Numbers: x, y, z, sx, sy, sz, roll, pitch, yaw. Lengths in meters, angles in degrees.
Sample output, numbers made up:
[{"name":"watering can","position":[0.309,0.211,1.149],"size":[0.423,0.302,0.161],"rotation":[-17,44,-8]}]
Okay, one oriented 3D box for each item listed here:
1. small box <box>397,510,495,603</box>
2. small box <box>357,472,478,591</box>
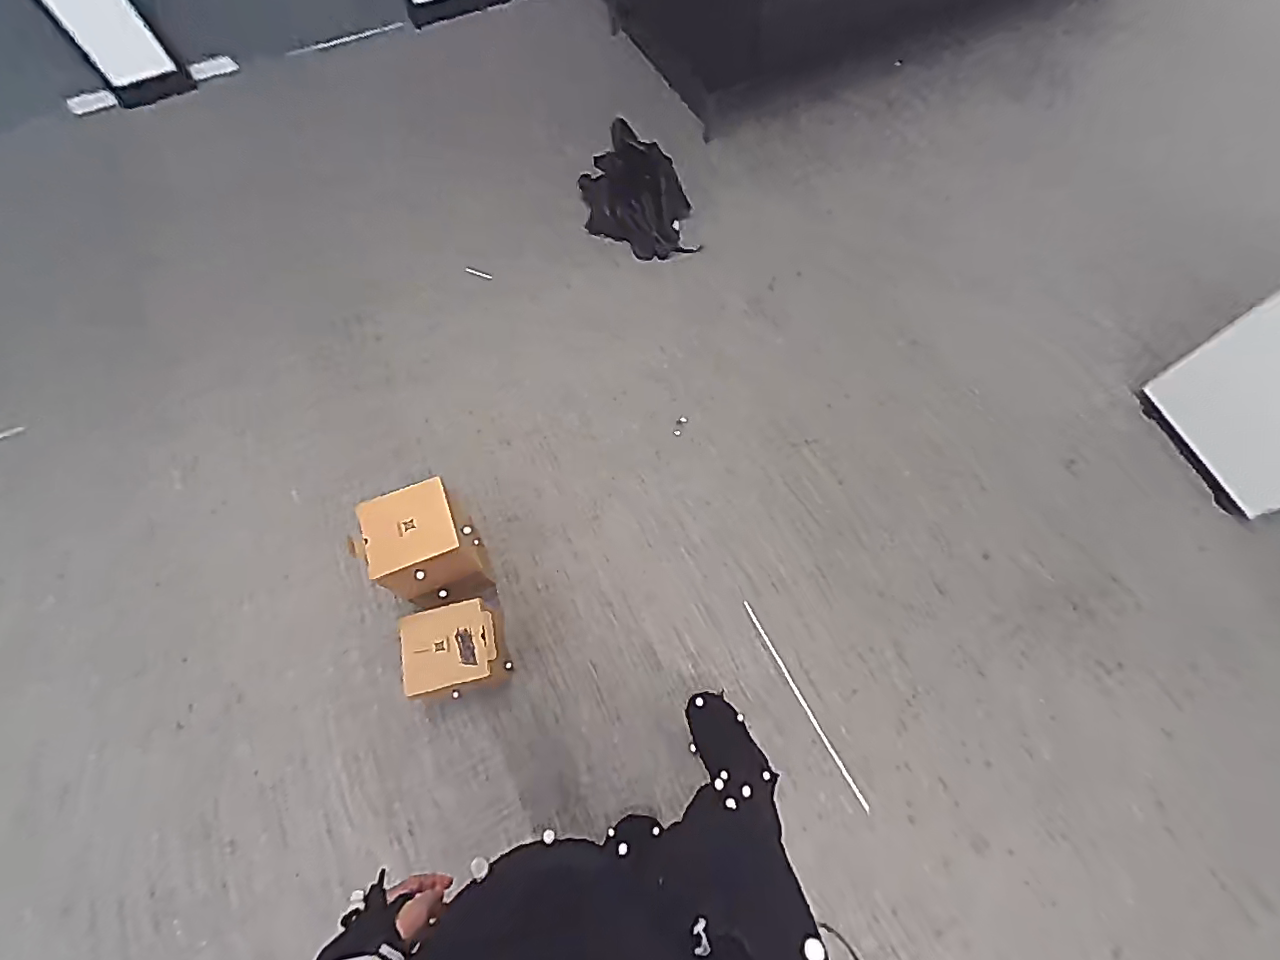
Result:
[{"name":"small box","position":[-0.467,0.174,1.277],"size":[0.179,0.176,0.168],"rotation":[-21,67,-8]},{"name":"small box","position":[-0.452,0.112,1.126],"size":[0.179,0.176,0.168],"rotation":[-21,68,-8]}]
